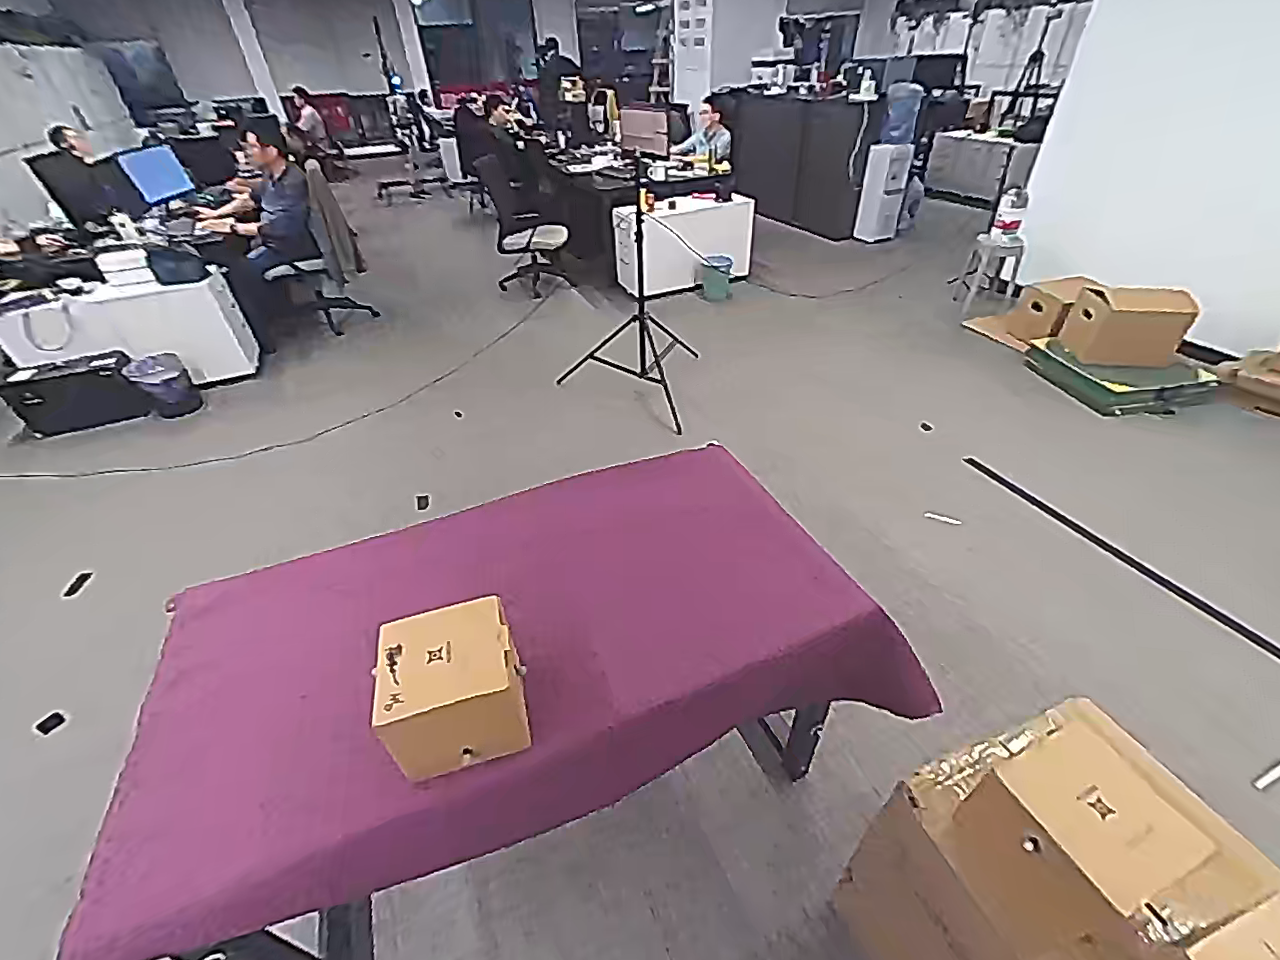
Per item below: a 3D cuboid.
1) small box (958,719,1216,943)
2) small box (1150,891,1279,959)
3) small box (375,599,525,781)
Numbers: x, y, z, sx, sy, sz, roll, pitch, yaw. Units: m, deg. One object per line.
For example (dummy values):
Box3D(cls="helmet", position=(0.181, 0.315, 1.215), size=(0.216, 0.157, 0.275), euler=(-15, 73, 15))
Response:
Box3D(cls="small box", position=(0.572, 0.466, 0.723), size=(0.168, 0.176, 0.179), euler=(-18, 42, -15))
Box3D(cls="small box", position=(0.675, 0.583, 0.565), size=(0.168, 0.176, 0.179), euler=(-15, 38, -13))
Box3D(cls="small box", position=(-0.272, 0.311, 0.807), size=(0.179, 0.176, 0.168), euler=(-12, 38, -12))
